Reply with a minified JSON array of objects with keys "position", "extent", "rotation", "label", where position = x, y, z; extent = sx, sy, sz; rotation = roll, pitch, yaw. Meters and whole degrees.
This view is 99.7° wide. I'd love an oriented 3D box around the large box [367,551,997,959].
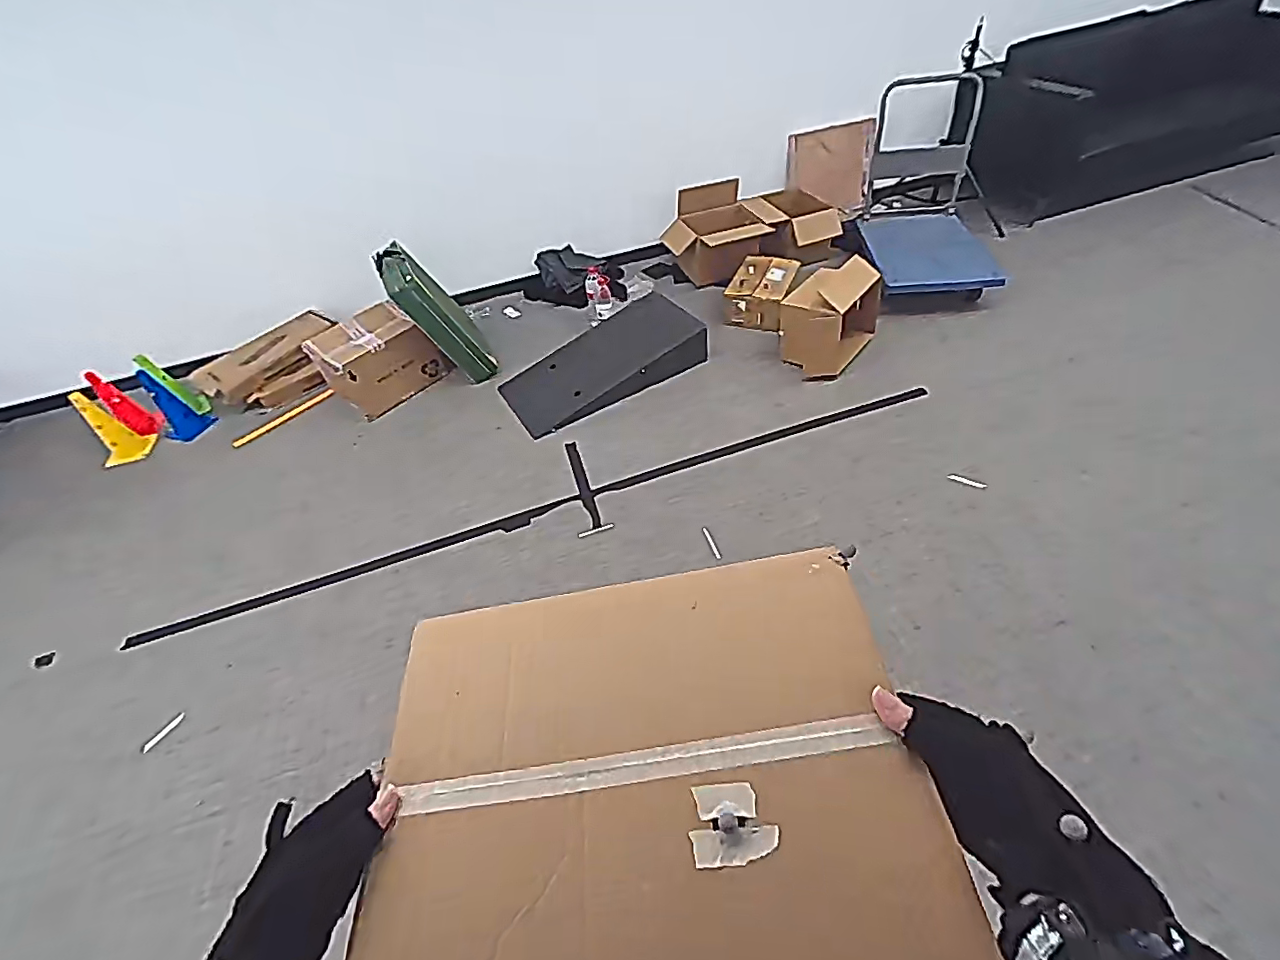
[{"position":[0.028,0.314,0.526],"extent":[0.408,0.320,0.320],"rotation":[-11,48,5],"label":"large box"}]
